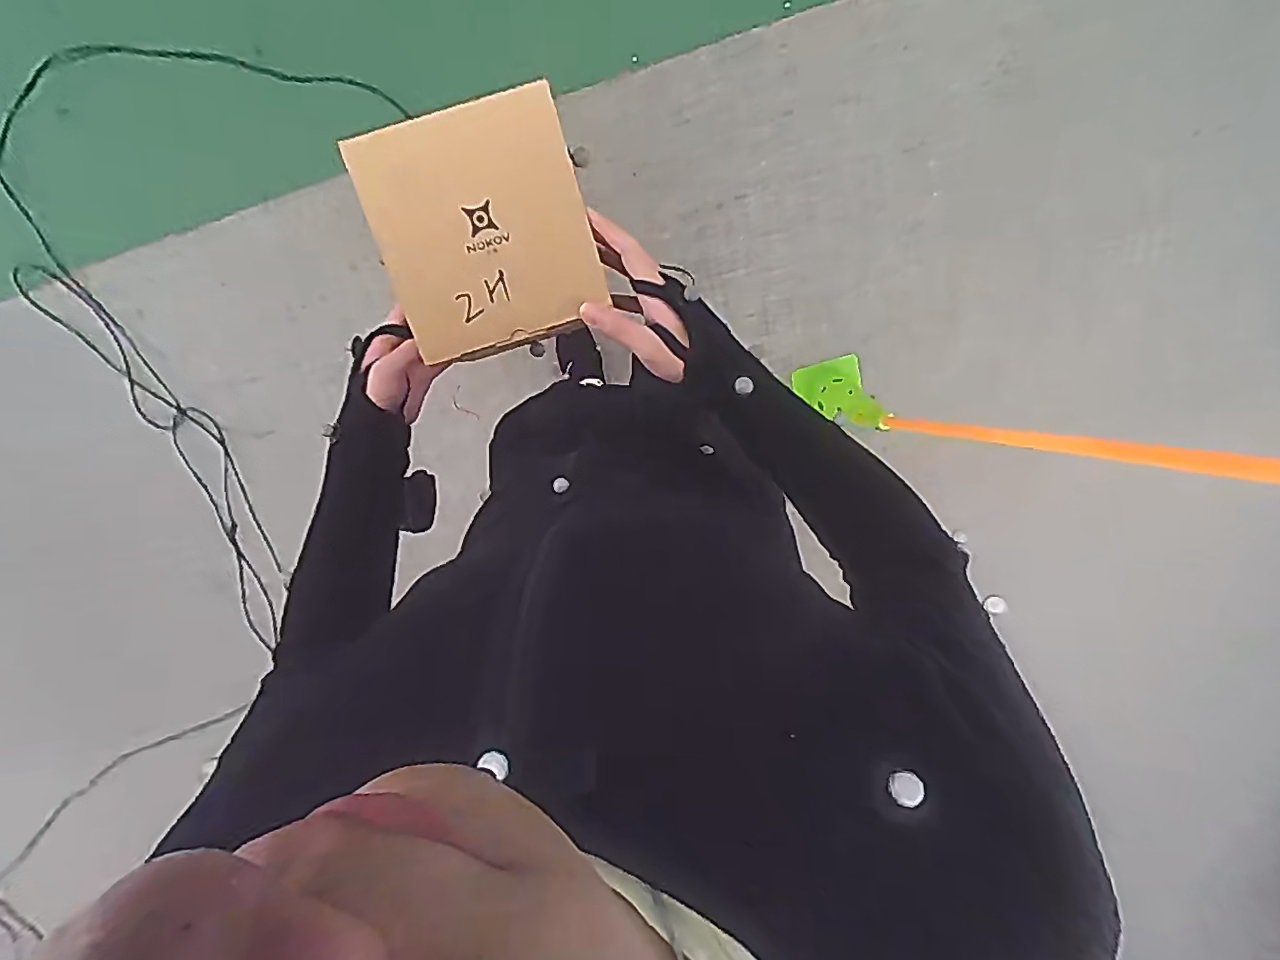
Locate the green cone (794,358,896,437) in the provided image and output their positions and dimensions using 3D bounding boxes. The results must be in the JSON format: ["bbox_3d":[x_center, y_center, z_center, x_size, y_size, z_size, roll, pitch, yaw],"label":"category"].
[{"bbox_3d":[0.570,-0.187,1.419,0.202,0.368,0.200,-17,108,3],"label":"green cone"}]
